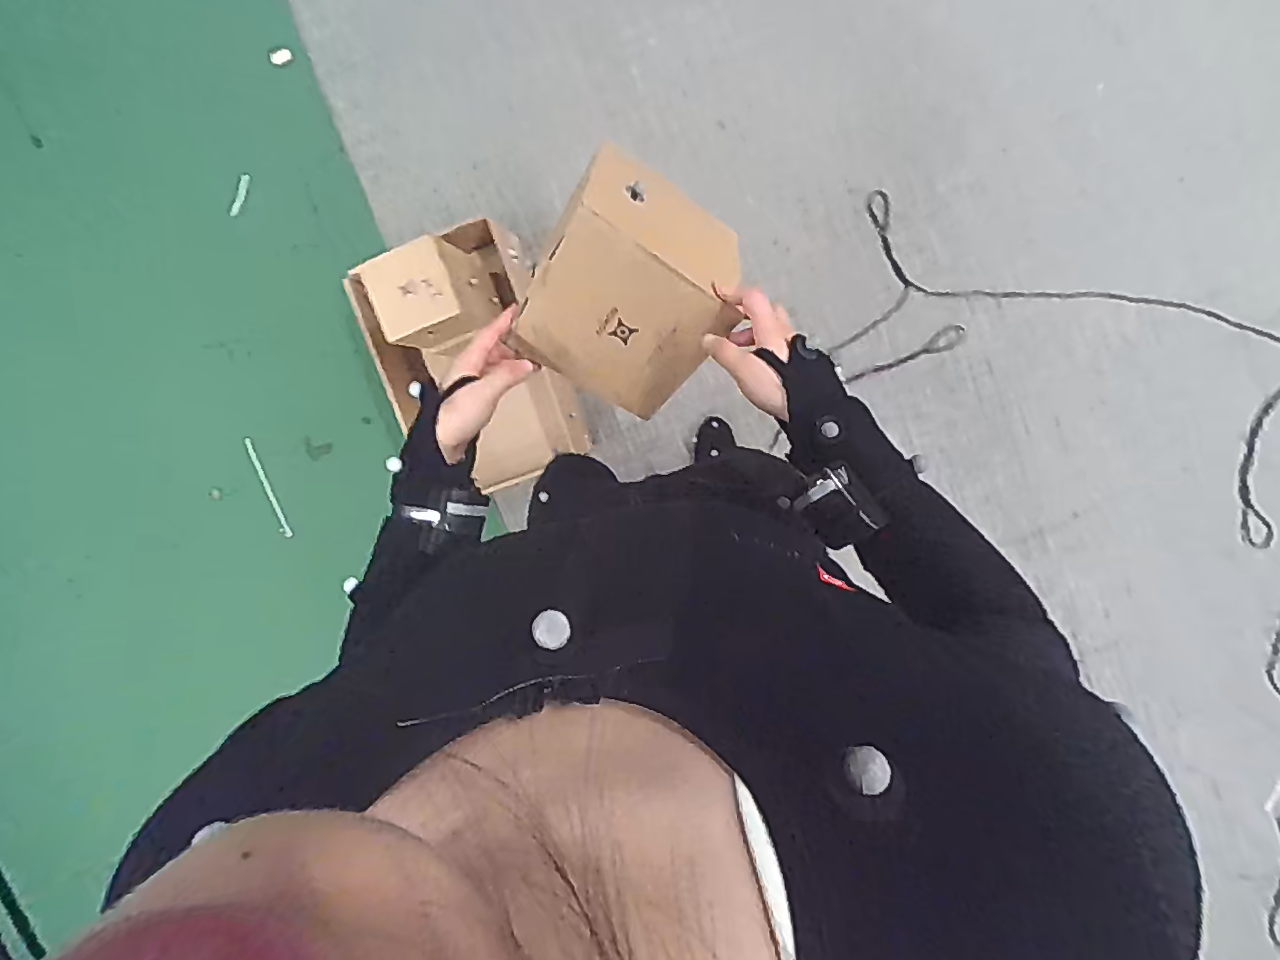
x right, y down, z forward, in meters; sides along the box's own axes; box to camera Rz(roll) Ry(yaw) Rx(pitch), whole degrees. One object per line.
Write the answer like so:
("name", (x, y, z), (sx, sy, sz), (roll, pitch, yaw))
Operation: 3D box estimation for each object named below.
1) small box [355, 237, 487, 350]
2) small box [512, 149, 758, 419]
("small box", (-0.463, -0.390, 1.166), (0.179, 0.176, 0.168), (-19, 97, 8))
("small box", (-0.002, -0.203, 0.556), (0.179, 0.176, 0.168), (28, 135, -22))
